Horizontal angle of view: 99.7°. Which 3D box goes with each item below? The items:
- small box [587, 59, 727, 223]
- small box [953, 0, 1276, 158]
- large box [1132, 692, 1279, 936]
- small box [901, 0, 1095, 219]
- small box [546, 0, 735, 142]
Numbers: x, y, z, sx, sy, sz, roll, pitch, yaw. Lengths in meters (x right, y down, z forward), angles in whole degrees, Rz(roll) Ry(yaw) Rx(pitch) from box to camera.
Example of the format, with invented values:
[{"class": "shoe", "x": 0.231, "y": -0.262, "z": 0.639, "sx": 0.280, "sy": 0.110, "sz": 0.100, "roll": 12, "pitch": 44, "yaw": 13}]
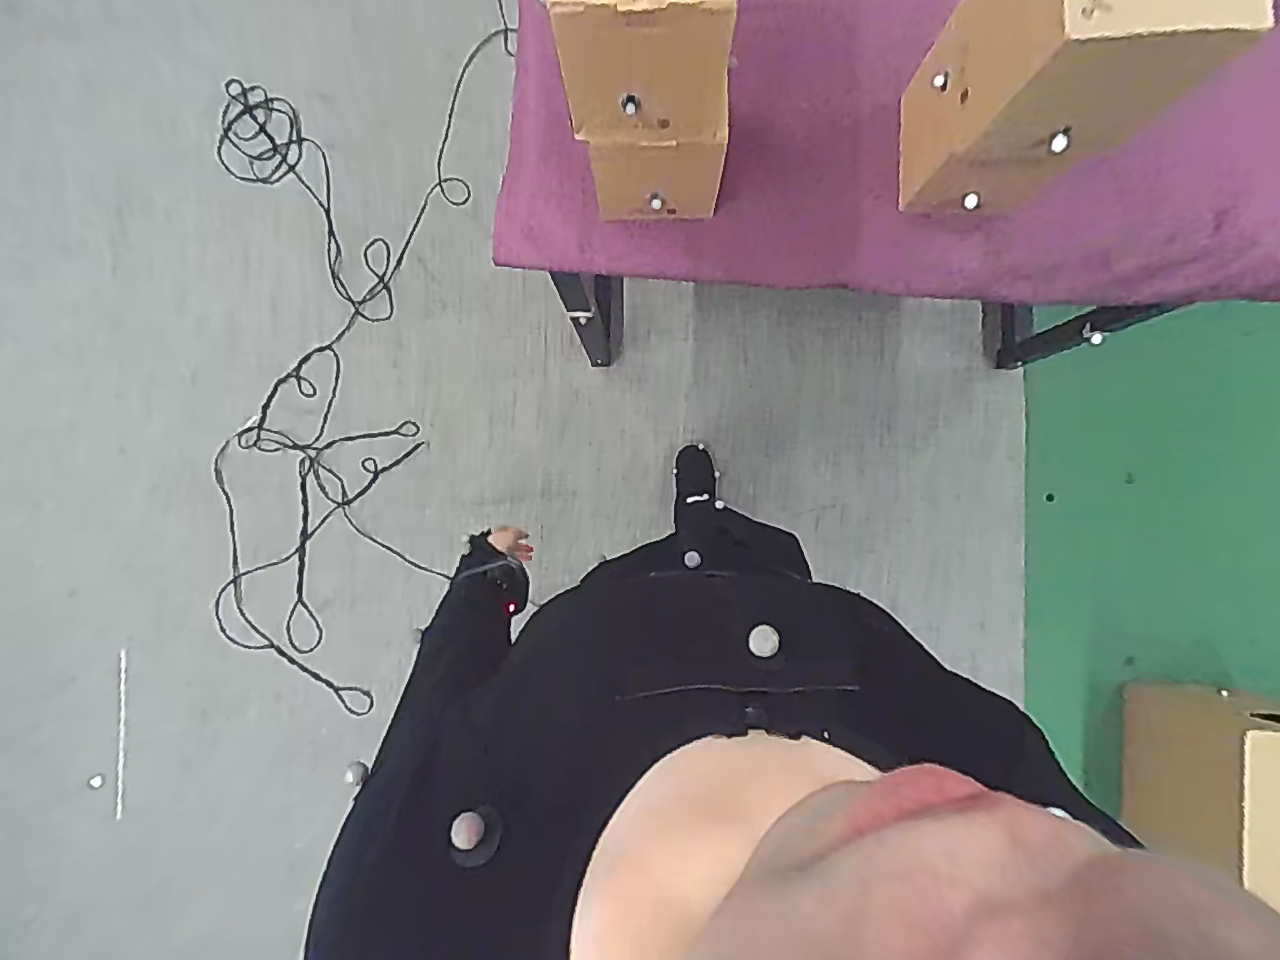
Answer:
[{"class": "small box", "x": 0.021, "y": -0.465, "z": 0.706, "sx": 0.168, "sy": 0.176, "sz": 0.179, "roll": 0, "pitch": 86, "yaw": 2}, {"class": "small box", "x": 0.442, "y": -0.446, "z": 0.532, "sx": 0.179, "sy": 0.176, "sz": 0.168, "roll": -1, "pitch": 88, "yaw": 2}, {"class": "large box", "x": 1.443, "y": 0.755, "z": 1.272, "sx": 0.320, "sy": 0.320, "sz": 0.408, "roll": 3, "pitch": 88, "yaw": 2}, {"class": "small box", "x": 0.455, "y": -0.467, "z": 0.696, "sx": 0.168, "sy": 0.176, "sz": 0.179, "roll": 2, "pitch": 88, "yaw": 2}, {"class": "small box", "x": 0.001, "y": -0.481, "z": 0.545, "sx": 0.168, "sy": 0.176, "sz": 0.179, "roll": 0, "pitch": 86, "yaw": 1}]
